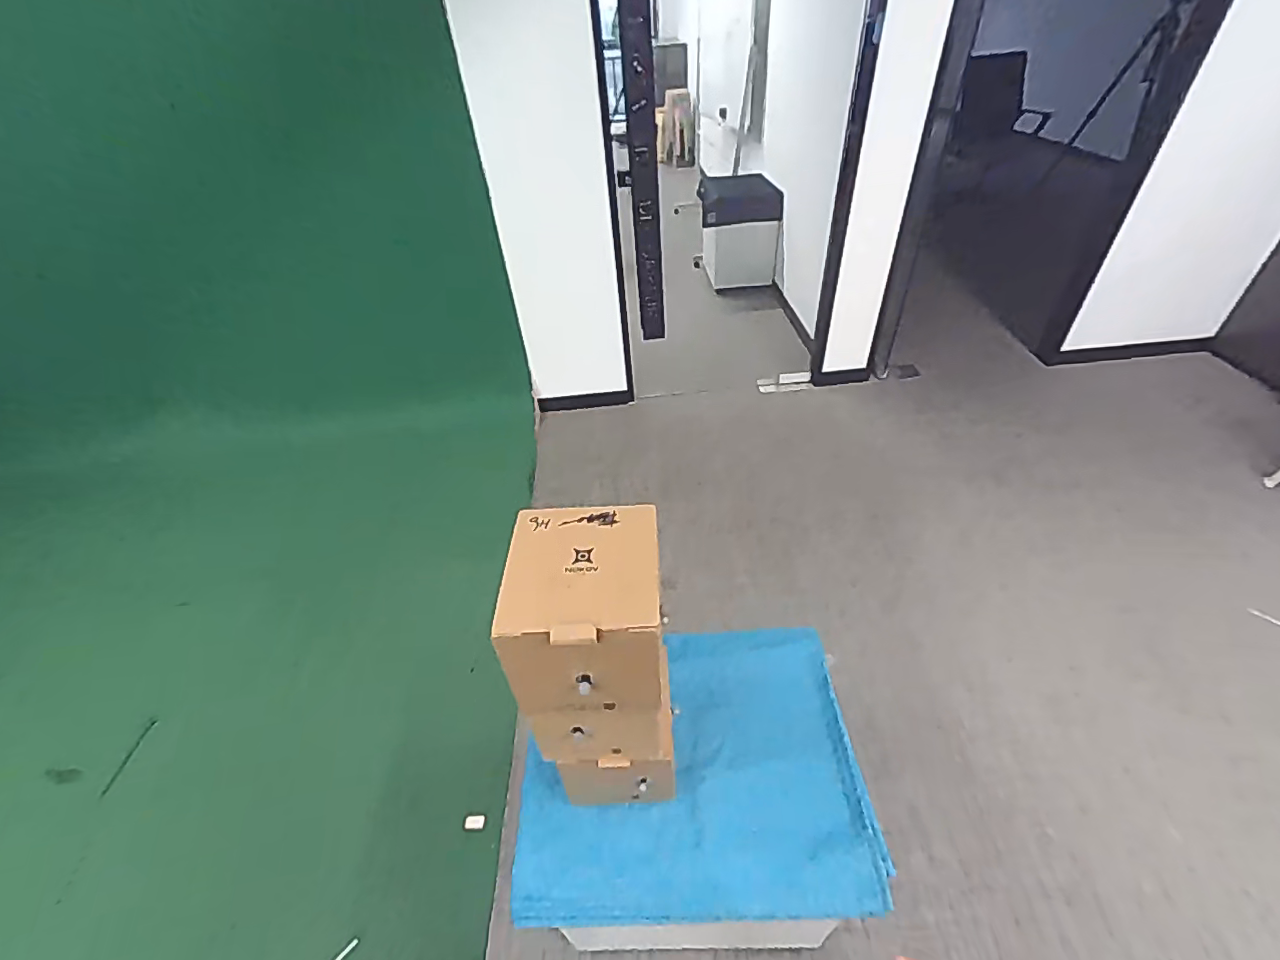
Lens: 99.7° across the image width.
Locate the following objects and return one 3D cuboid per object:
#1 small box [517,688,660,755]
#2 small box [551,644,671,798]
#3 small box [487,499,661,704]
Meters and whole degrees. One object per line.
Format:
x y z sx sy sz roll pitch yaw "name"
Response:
-0.057 0.260 0.744 0.168 0.176 0.179 -1 40 2 "small box"
-0.036 0.381 0.850 0.168 0.176 0.179 -2 41 1 "small box"
-0.060 0.143 0.628 0.168 0.176 0.179 -1 41 2 "small box"
